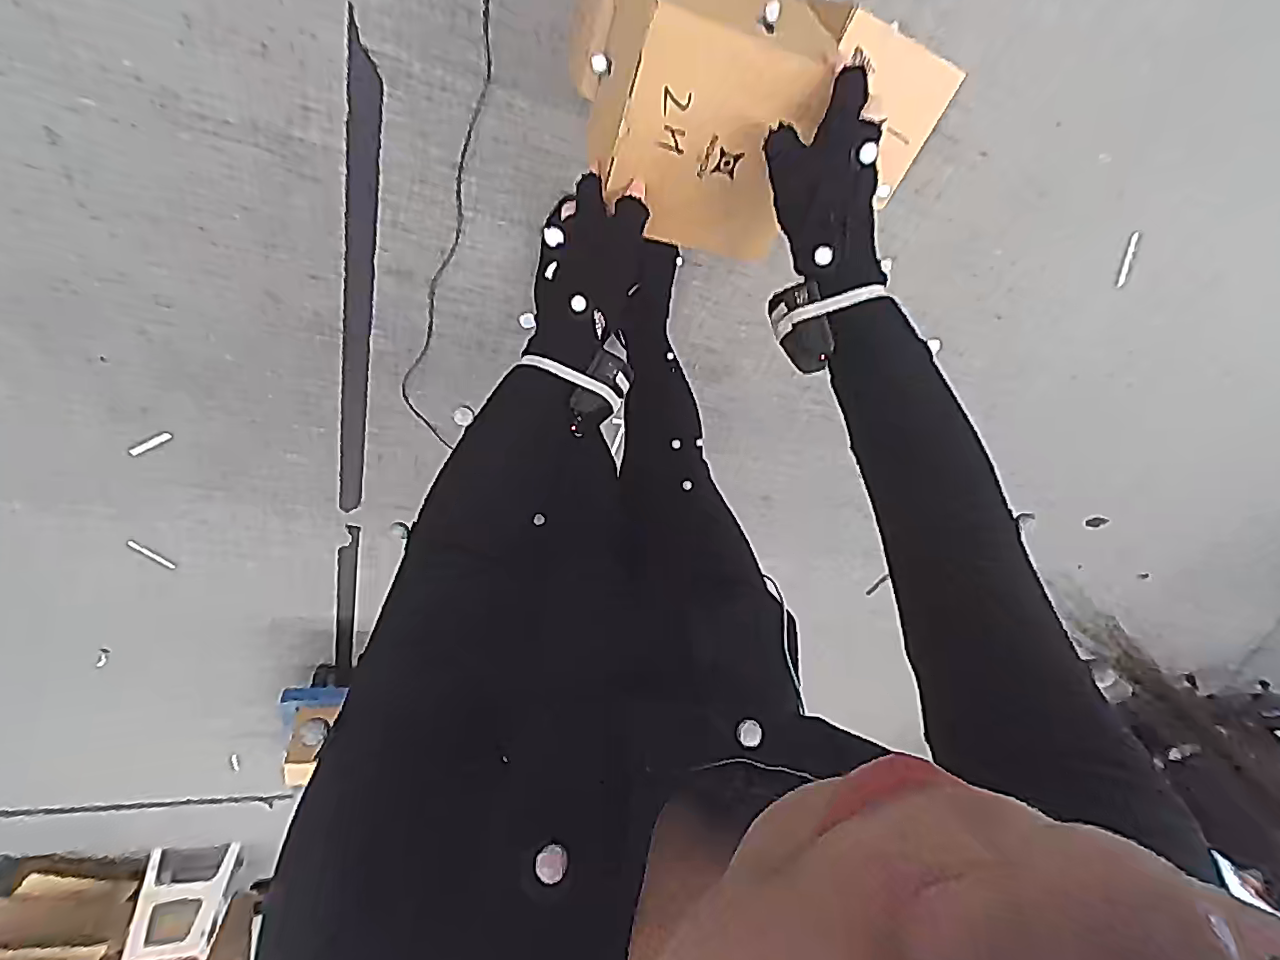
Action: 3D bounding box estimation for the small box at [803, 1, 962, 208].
[{"bbox_3d":[0.263,-0.496,0.716,0.179,0.176,0.168,8,132,-23],"label":"small box"}]

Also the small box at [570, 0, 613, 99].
[{"bbox_3d":[0.026,-0.524,0.630,0.179,0.176,0.168,8,131,-20],"label":"small box"}]

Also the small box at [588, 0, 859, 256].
[{"bbox_3d":[0.058,-0.342,0.497,0.179,0.176,0.168,5,146,-19],"label":"small box"}]
